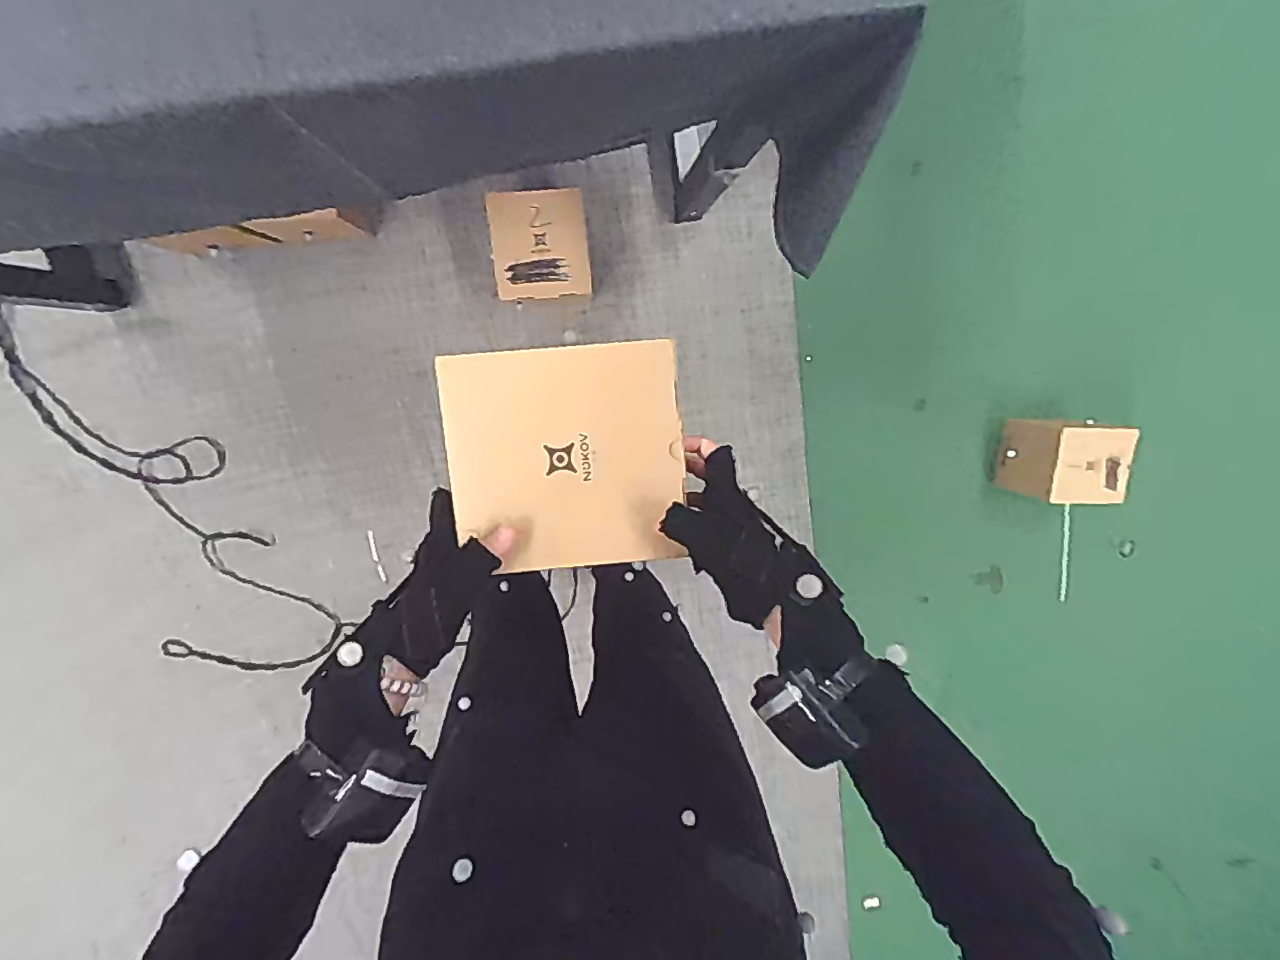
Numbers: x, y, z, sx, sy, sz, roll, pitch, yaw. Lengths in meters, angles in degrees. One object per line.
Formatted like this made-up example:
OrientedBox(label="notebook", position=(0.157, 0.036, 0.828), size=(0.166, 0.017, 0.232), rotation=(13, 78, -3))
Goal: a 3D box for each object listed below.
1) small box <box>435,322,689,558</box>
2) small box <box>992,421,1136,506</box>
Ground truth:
OrientedBox(label="small box", position=(-0.059, -0.036, 0.475), size=(0.179, 0.176, 0.168), rotation=(-5, 97, -4))
OrientedBox(label="small box", position=(0.952, -0.043, 1.228), size=(0.179, 0.176, 0.168), rotation=(1, 102, -5))
